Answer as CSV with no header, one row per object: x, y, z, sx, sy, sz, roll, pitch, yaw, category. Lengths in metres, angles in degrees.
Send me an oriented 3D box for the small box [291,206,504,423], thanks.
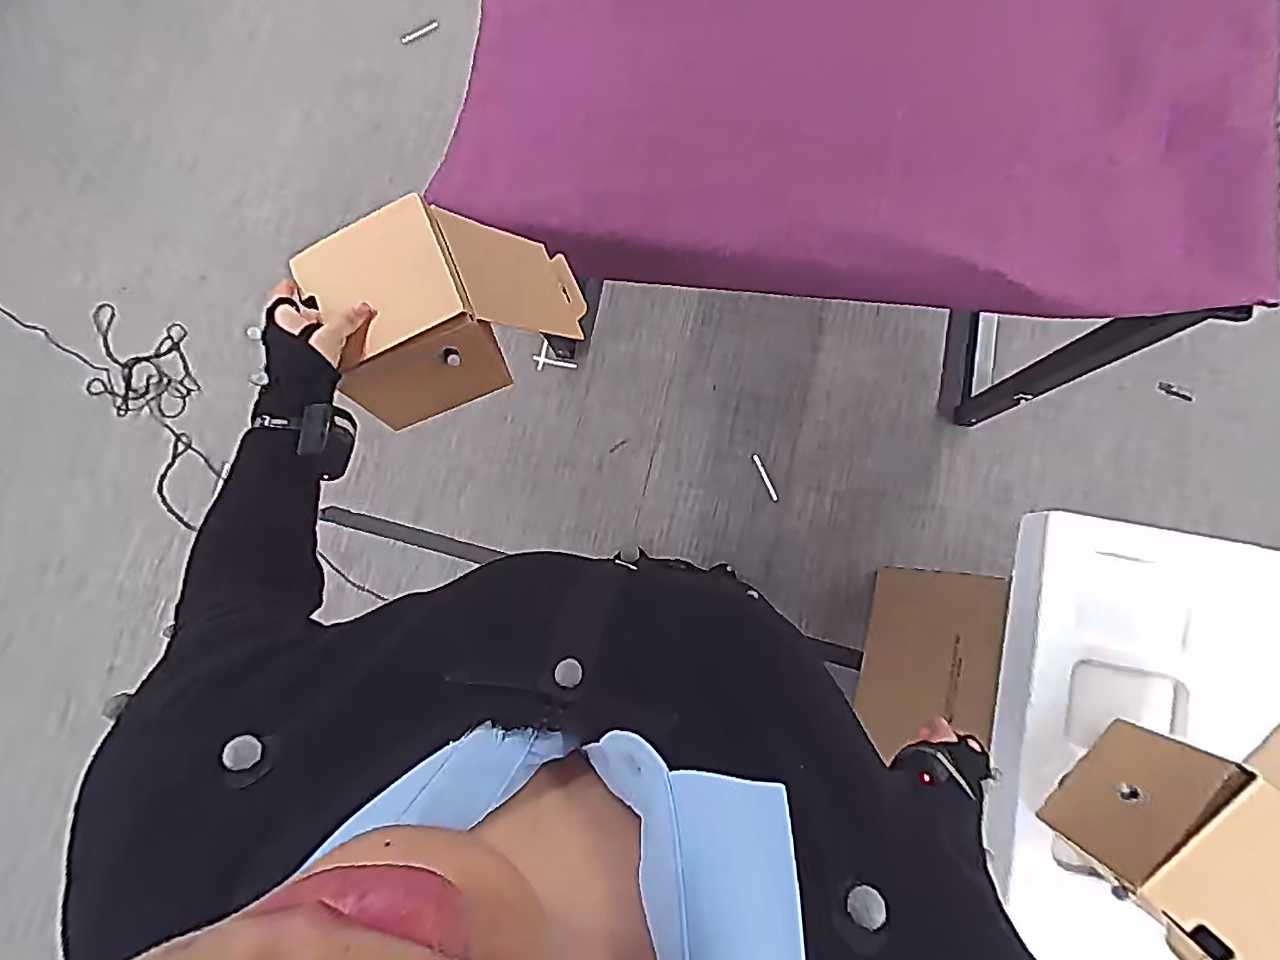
-0.286,-0.196,0.680,0.179,0.176,0.168,-23,75,-4,small box
